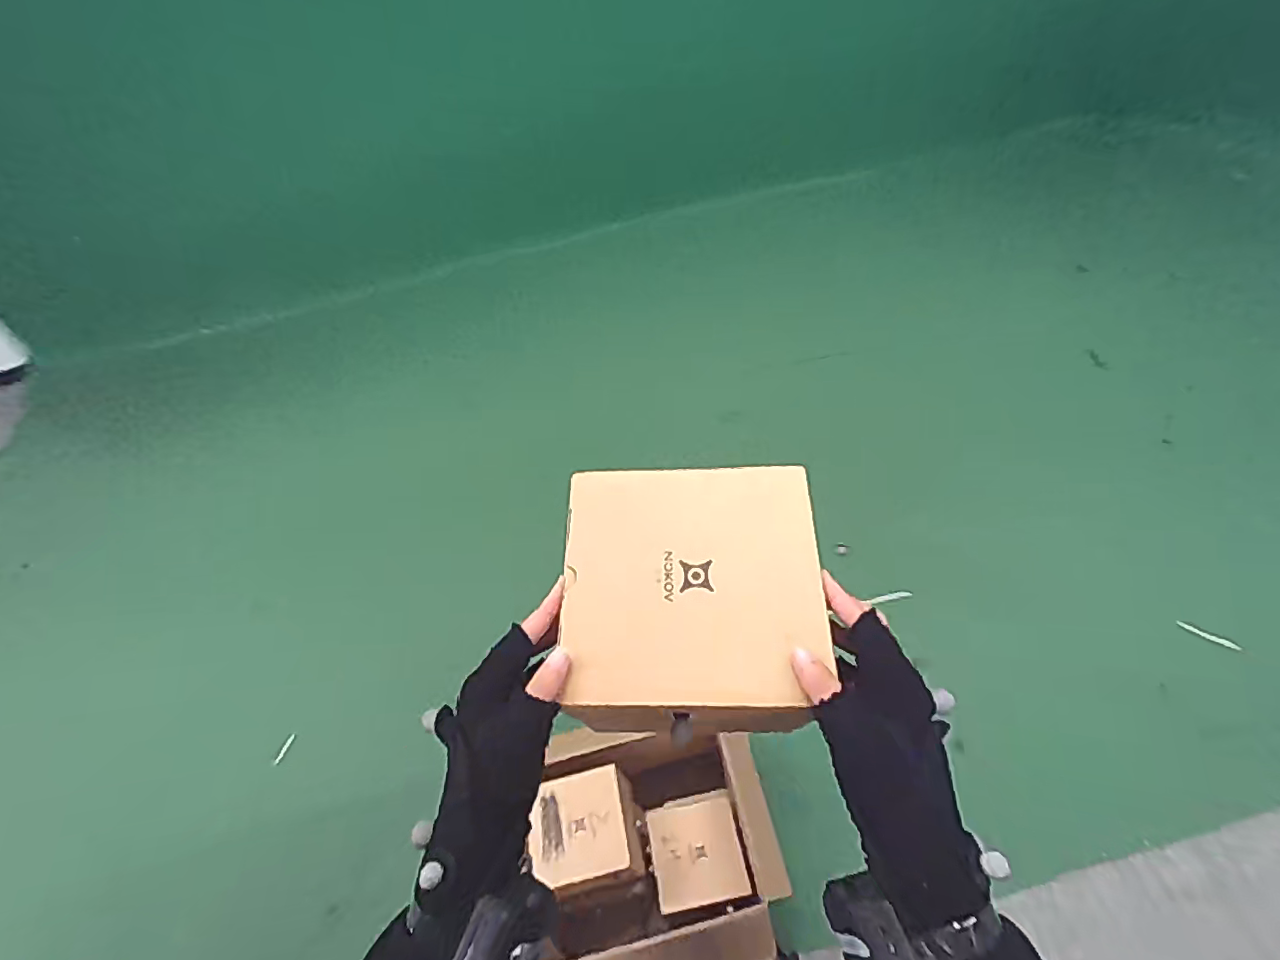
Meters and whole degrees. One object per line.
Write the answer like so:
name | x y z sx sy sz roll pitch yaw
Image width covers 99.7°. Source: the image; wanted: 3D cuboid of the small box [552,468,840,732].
small box | 0.042 0.102 0.430 0.179 0.176 0.168 -1 61 6
